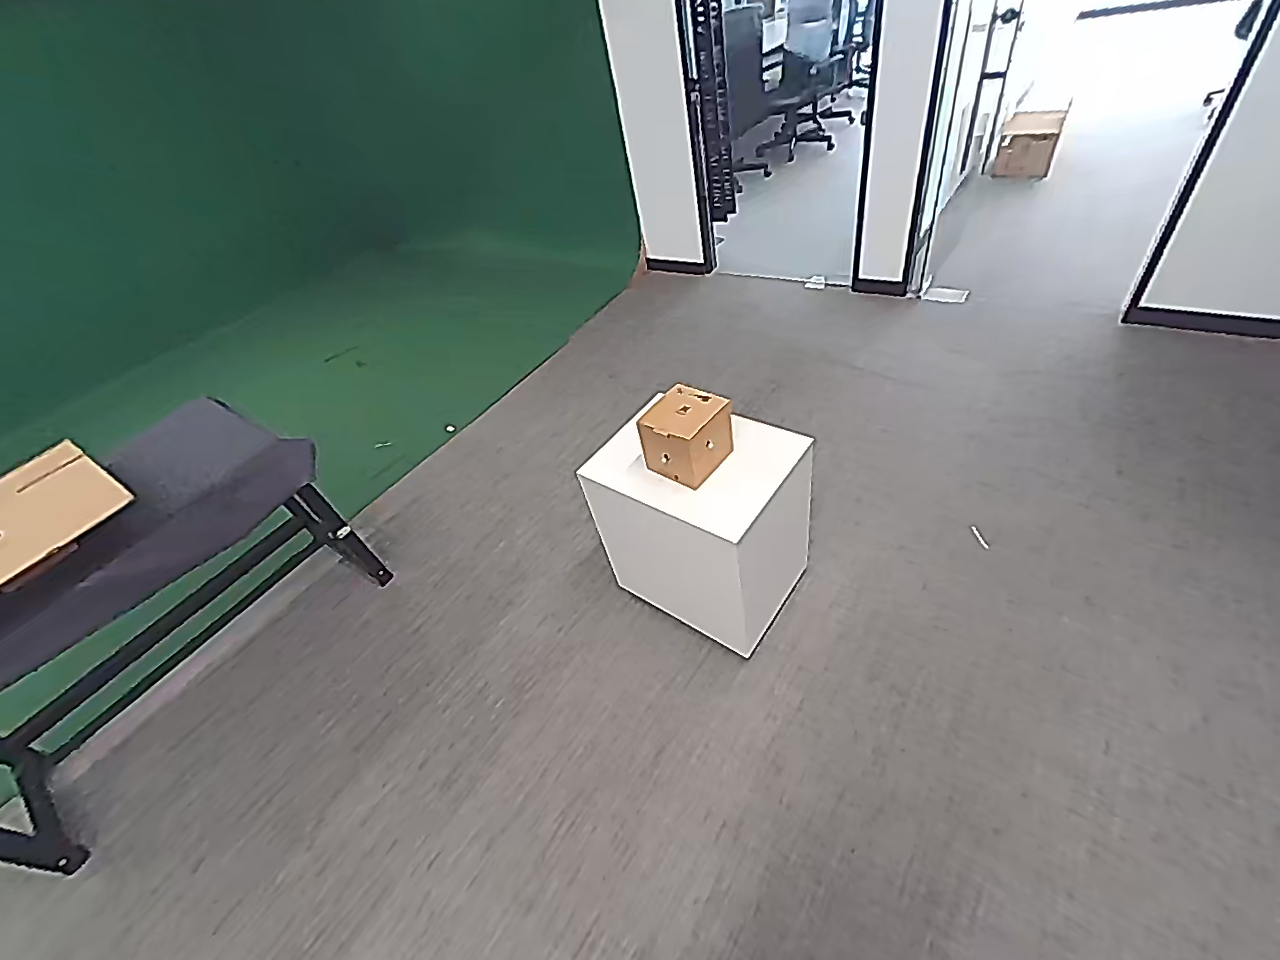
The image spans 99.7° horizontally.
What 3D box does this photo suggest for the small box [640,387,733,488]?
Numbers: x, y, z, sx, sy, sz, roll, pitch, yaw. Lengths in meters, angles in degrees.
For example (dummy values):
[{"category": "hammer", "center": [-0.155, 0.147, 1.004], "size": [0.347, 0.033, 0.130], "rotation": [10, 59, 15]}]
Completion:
[{"category": "small box", "center": [0.127, -0.106, 1.385], "size": [0.168, 0.176, 0.179], "rotation": [22, 54, 33]}]
